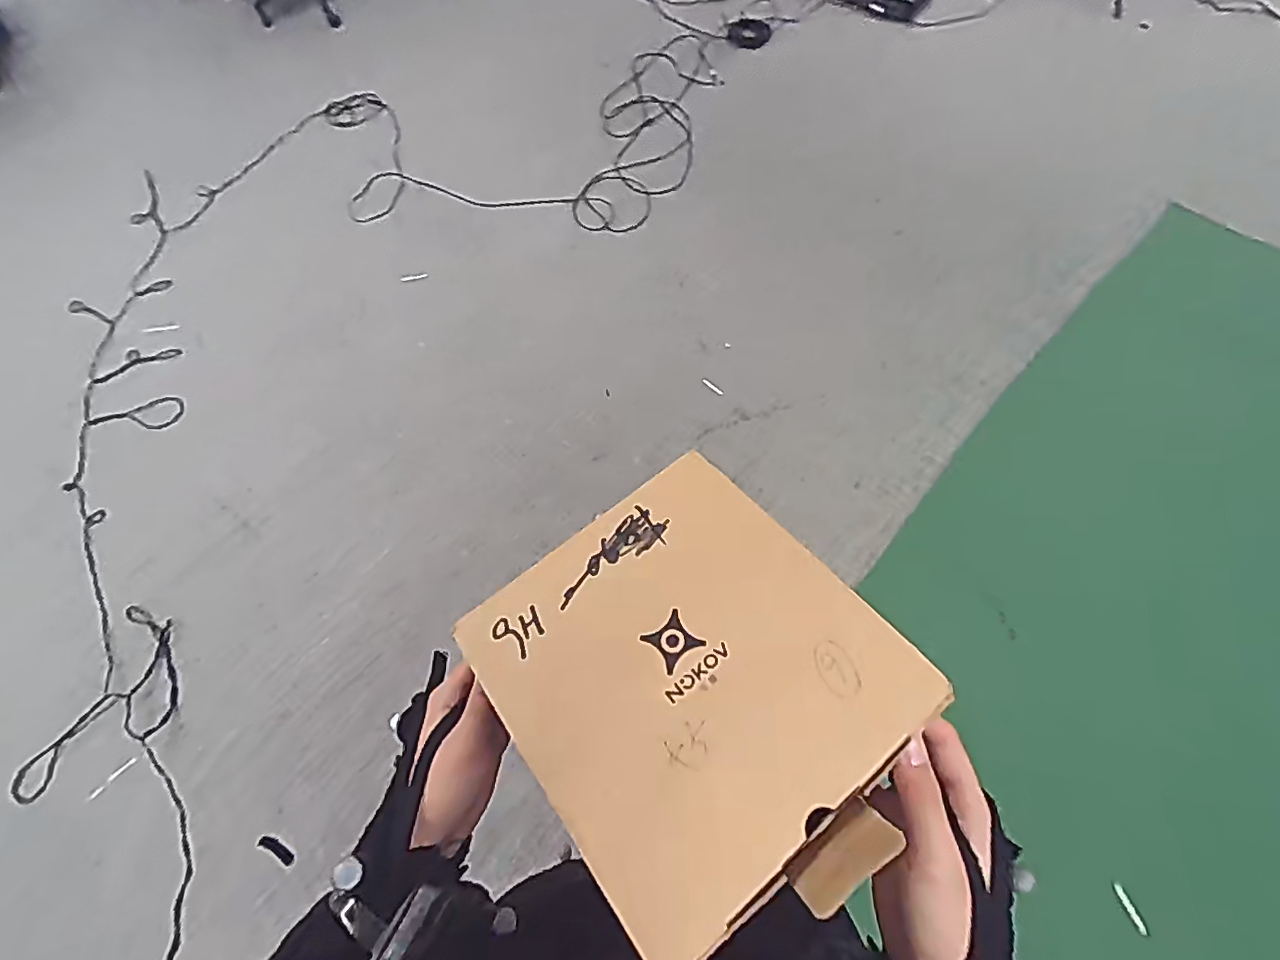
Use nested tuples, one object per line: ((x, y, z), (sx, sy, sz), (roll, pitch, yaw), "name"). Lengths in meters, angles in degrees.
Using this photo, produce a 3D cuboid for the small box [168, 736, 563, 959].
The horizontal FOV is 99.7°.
((-0.170, 0.289, 0.360), (0.176, 0.168, 0.179), (-13, 79, 16), "small box")
